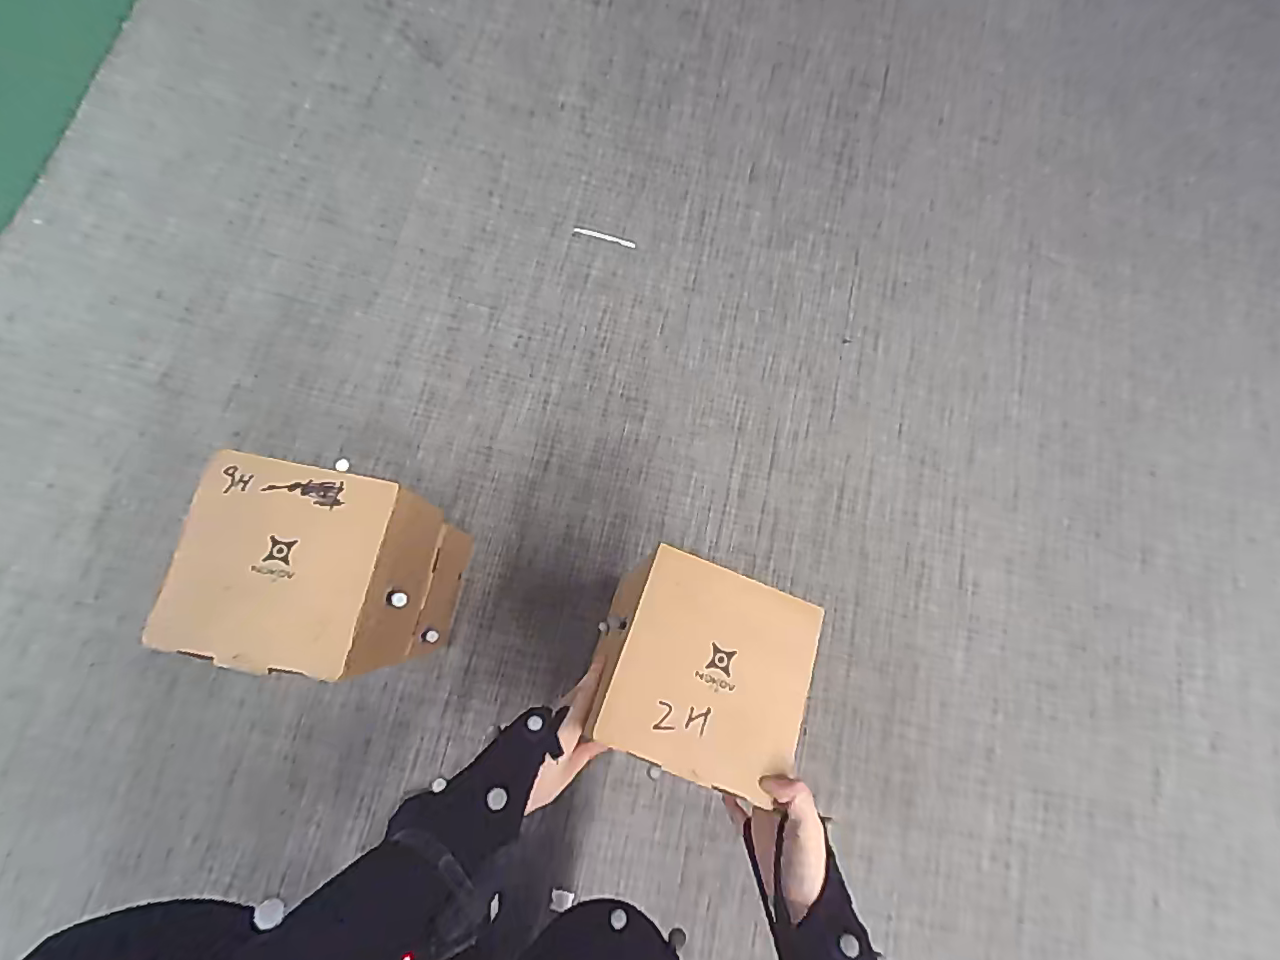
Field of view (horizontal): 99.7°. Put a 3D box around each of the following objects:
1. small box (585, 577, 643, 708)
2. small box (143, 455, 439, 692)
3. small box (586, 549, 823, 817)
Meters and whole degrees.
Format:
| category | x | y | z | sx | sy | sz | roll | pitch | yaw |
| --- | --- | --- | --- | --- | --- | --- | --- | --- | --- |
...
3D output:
| category | x | y | z | sx | sy | sz | roll | pitch | yaw |
| --- | --- | --- | --- | --- | --- | --- | --- | --- | --- |
| small box | 0.029 | 0.240 | 0.720 | 0.168 | 0.176 | 0.179 | 20 | 77 | -3 |
| small box | -0.317 | 0.093 | 0.538 | 0.168 | 0.176 | 0.179 | 12 | 77 | -5 |
| small box | 0.053 | 0.194 | 0.534 | 0.168 | 0.176 | 0.179 | 22 | 66 | -2 |
